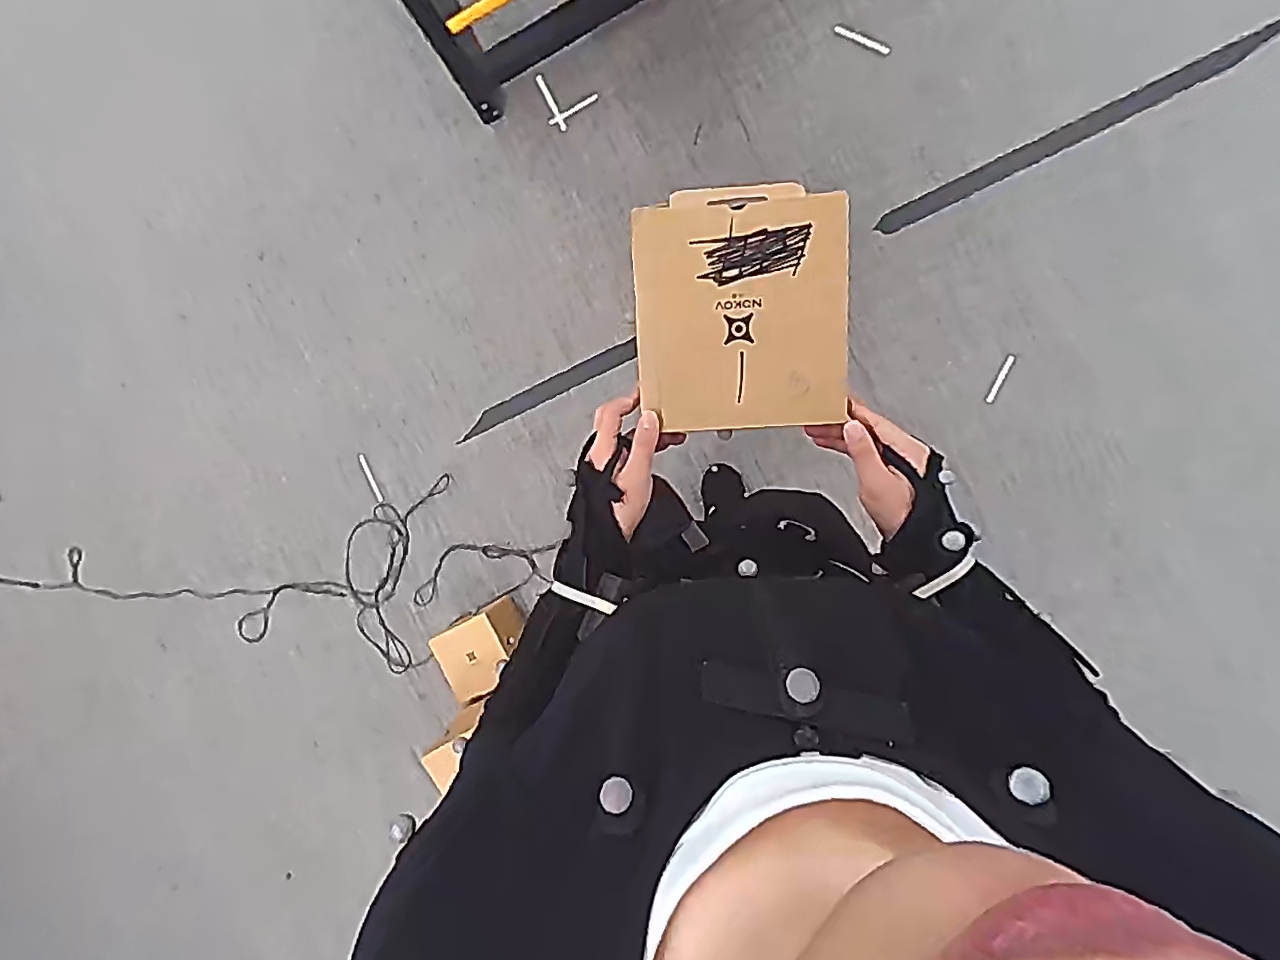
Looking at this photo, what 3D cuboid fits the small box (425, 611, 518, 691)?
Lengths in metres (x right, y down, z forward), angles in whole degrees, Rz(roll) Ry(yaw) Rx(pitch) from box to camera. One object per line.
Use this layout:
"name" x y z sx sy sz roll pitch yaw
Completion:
"small box" -0.399 0.408 1.303 0.179 0.176 0.168 1 79 -3

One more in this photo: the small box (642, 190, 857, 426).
"small box" 0.089 -0.142 0.500 0.168 0.176 0.179 -1 99 5
